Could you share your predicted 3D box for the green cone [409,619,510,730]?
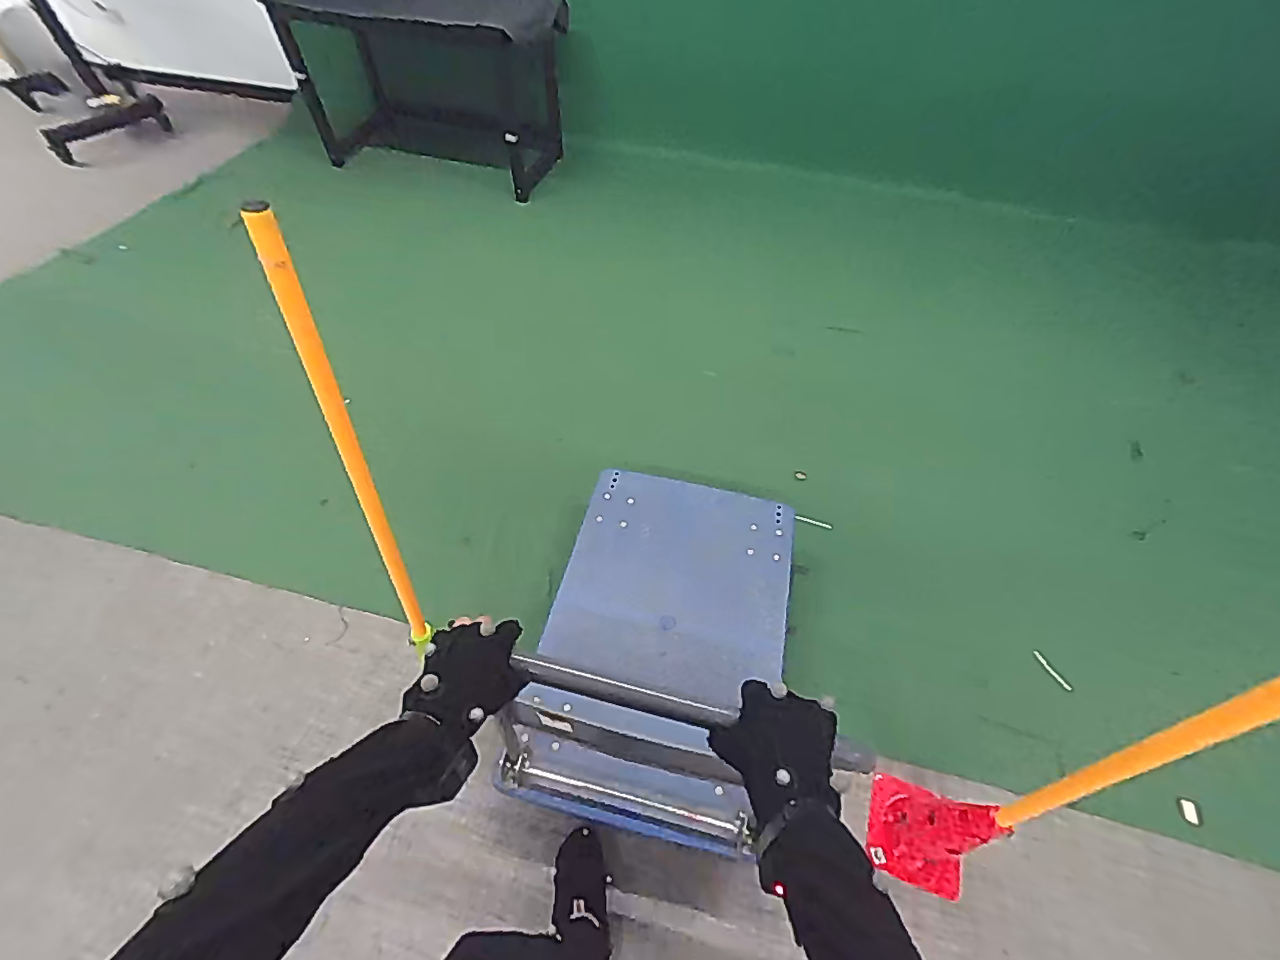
[{"bbox_3d":[-0.461,0.416,1.270,0.202,0.368,0.200,17,54,11],"label":"green cone"}]
